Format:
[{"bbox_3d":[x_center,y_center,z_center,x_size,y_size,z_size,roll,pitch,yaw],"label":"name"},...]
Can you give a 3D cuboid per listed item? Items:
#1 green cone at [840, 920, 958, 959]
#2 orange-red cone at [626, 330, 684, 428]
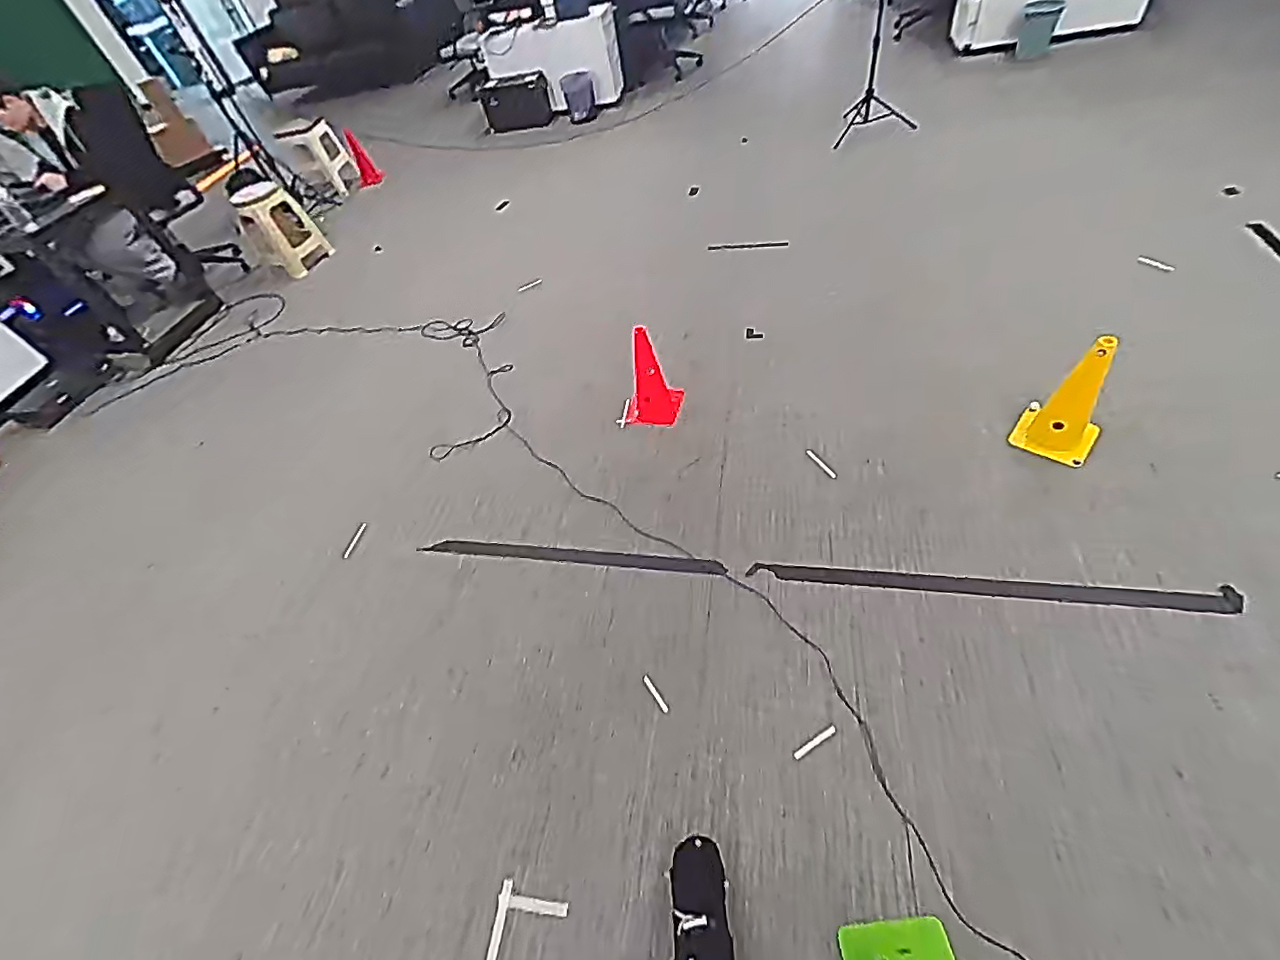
[{"bbox_3d":[0.453,0.814,0.841,0.202,0.368,0.200,-12,48,5],"label":"green cone"},{"bbox_3d":[0.031,-0.384,1.953,0.199,0.360,0.198,8,53,18],"label":"orange-red cone"}]
